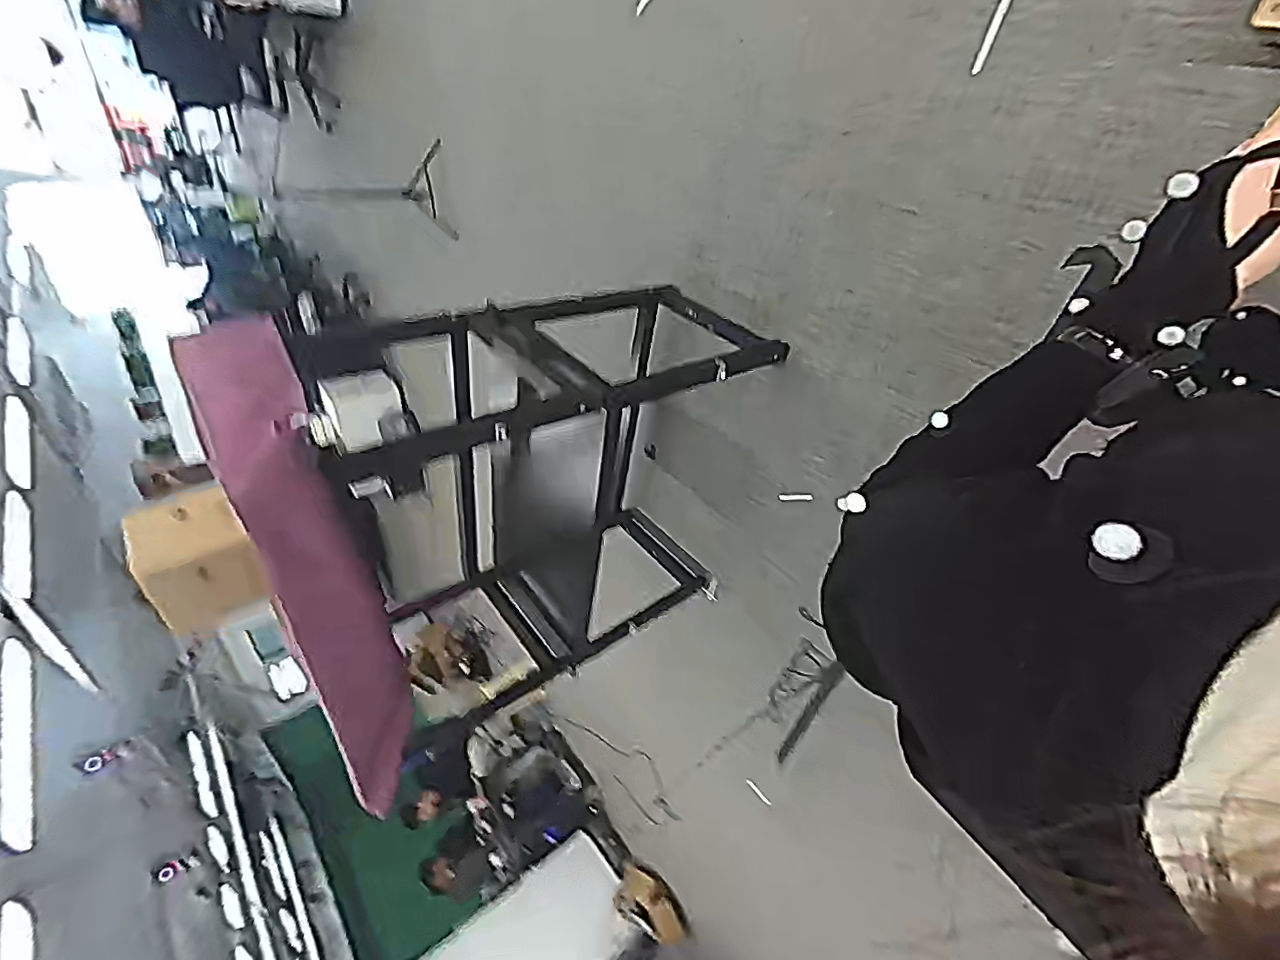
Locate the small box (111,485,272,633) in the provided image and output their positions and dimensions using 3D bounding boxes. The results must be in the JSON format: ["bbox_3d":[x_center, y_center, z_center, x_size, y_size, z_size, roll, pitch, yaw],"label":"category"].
[{"bbox_3d":[-0.805,0.135,0.983,0.168,0.176,0.179,44,140,31],"label":"small box"}]

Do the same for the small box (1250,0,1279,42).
[{"bbox_3d":[0.988,-0.687,0.715,0.179,0.176,0.168,39,136,32],"label":"small box"}]
